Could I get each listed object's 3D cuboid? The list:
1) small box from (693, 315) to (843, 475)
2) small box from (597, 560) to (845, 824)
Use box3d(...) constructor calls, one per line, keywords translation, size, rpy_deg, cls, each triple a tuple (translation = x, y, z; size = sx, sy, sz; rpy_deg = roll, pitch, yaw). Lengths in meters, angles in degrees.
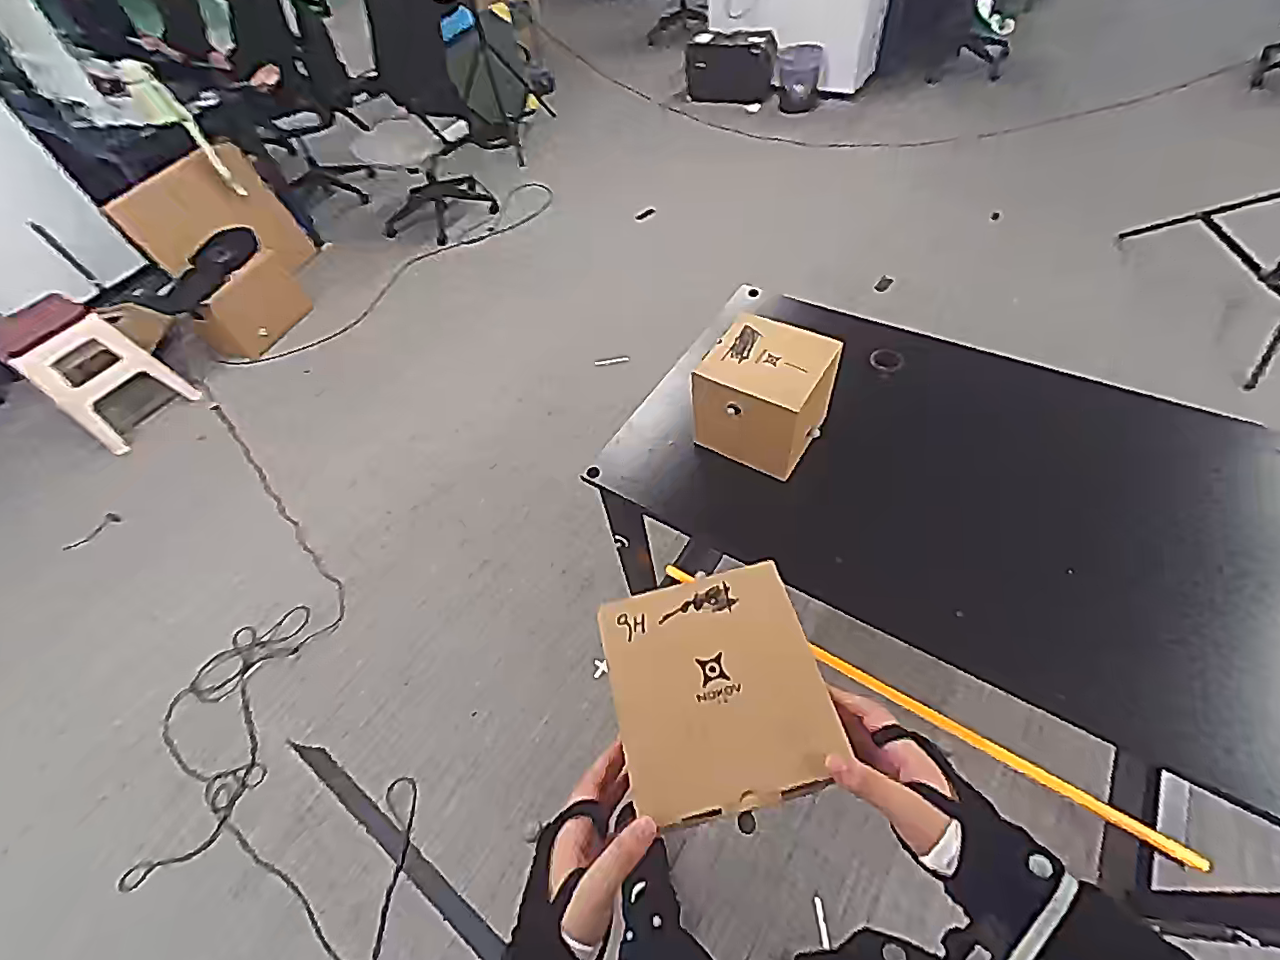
box3d(translation=(0.202, -0.136, 0.888), size=(0.179, 0.176, 0.168), rpy_deg=(27, 62, 23), cls="small box")
box3d(translation=(0.065, 0.202, 0.508), size=(0.168, 0.176, 0.179), rpy_deg=(-13, 58, -3), cls="small box")
